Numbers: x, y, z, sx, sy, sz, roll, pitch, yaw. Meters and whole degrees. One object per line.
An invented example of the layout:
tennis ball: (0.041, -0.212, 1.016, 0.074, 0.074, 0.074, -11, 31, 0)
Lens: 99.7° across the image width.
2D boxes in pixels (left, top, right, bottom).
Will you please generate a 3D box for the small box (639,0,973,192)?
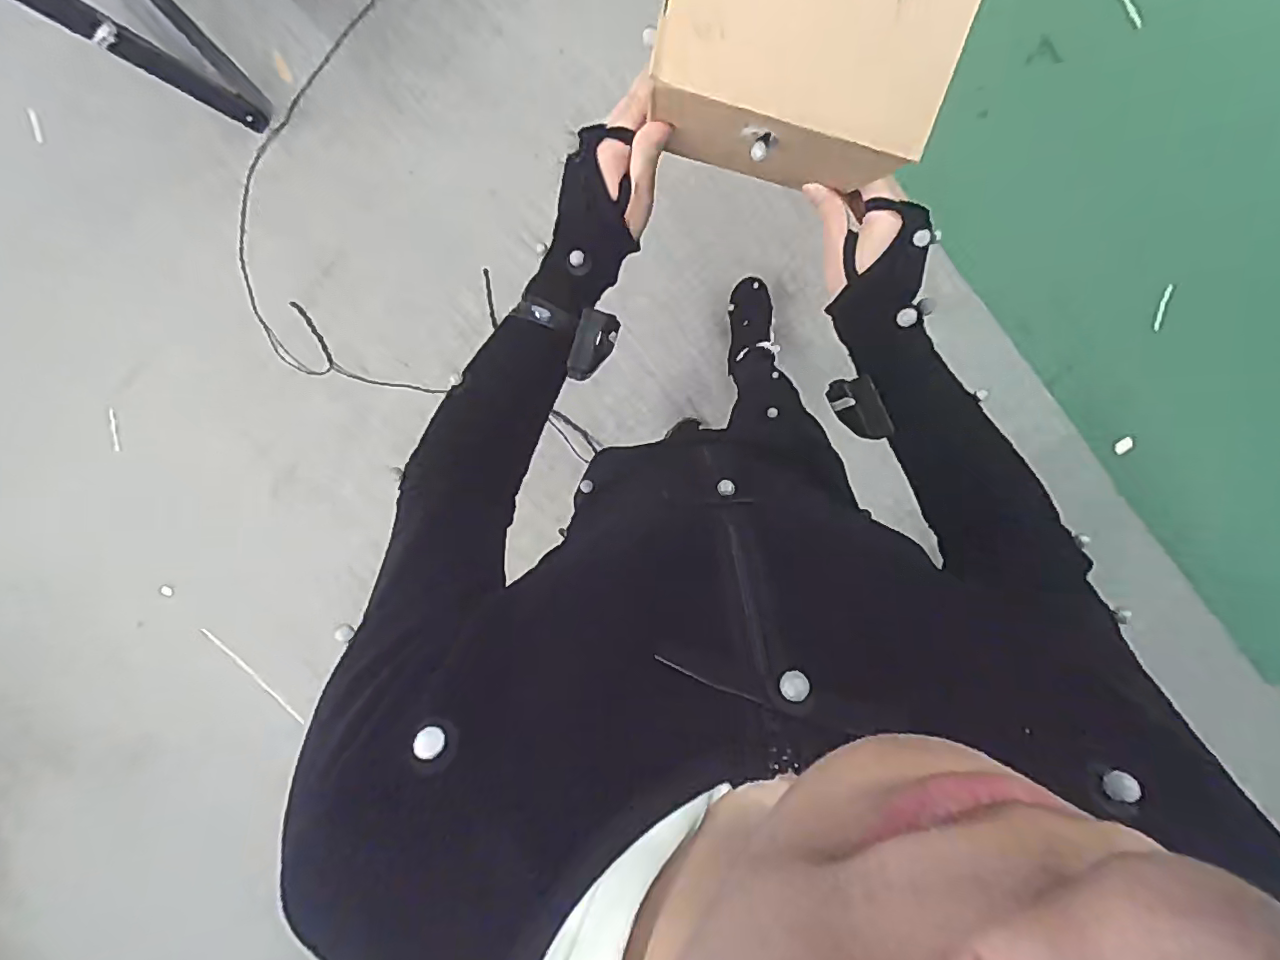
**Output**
small box: (0.104, -0.316, 0.369, 0.179, 0.176, 0.168, 14, 109, -5)
